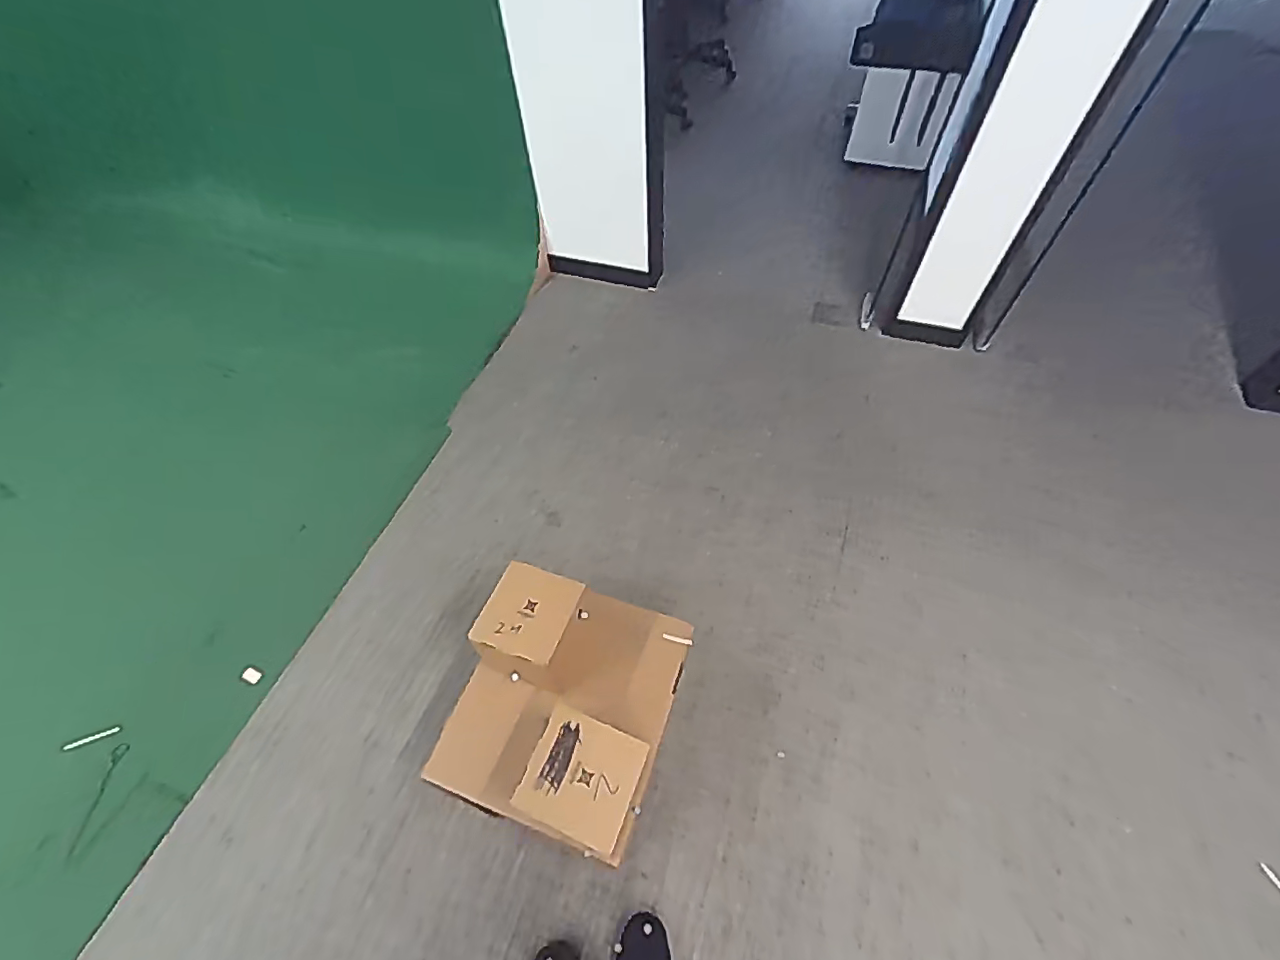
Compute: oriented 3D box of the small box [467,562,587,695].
[{"bbox_3d":[-0.214,0.300,1.085,0.168,0.176,0.179,16,54,13],"label":"small box"}]
